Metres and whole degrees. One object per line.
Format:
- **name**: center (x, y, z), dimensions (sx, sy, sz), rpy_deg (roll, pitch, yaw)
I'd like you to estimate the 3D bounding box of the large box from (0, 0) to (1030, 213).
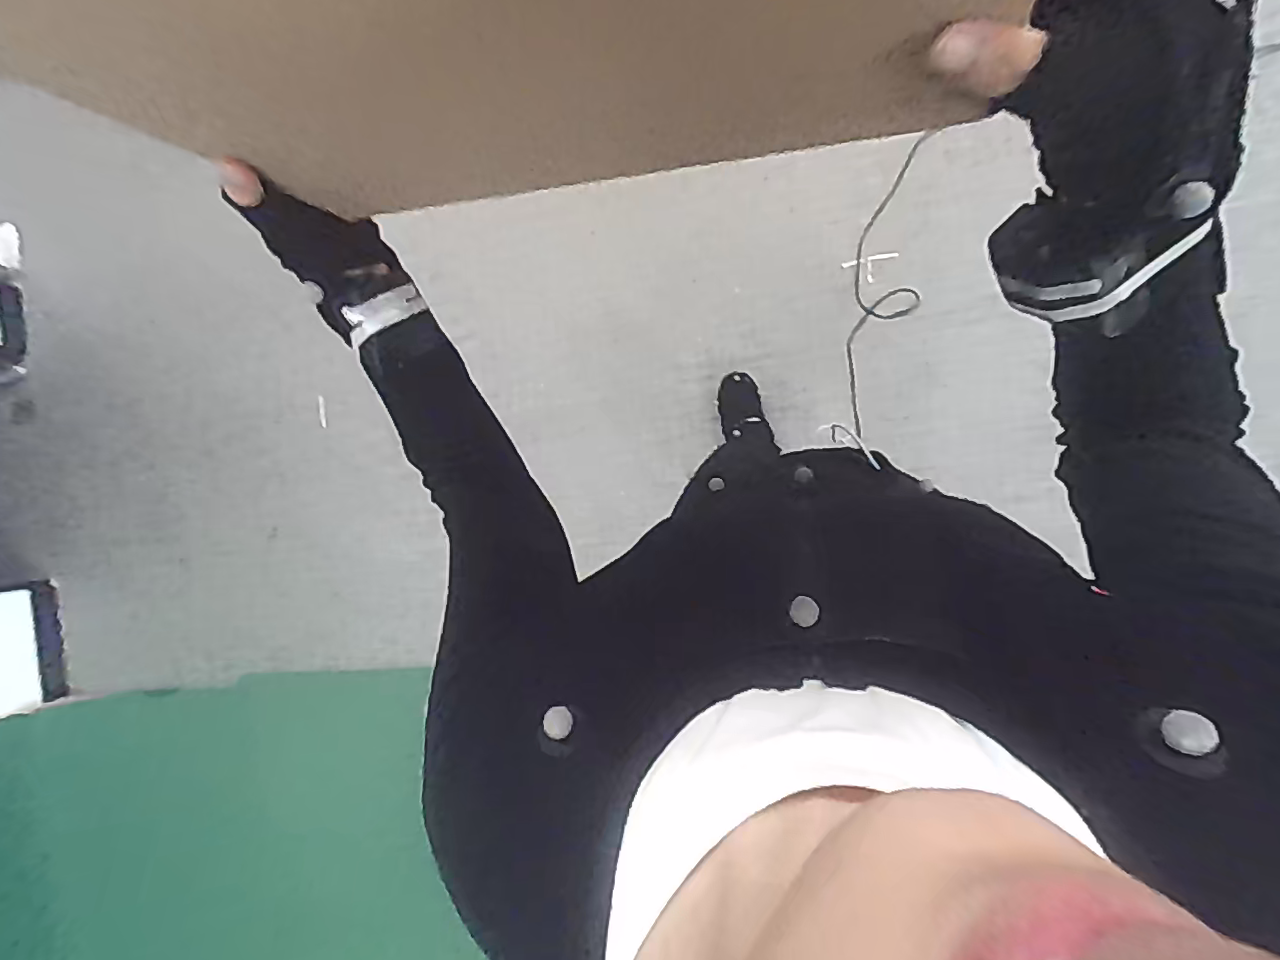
- **large box**: center (-0.077, -0.322, 0.168), dimensions (0.408, 0.320, 0.320), rpy_deg (4, 95, 23)
